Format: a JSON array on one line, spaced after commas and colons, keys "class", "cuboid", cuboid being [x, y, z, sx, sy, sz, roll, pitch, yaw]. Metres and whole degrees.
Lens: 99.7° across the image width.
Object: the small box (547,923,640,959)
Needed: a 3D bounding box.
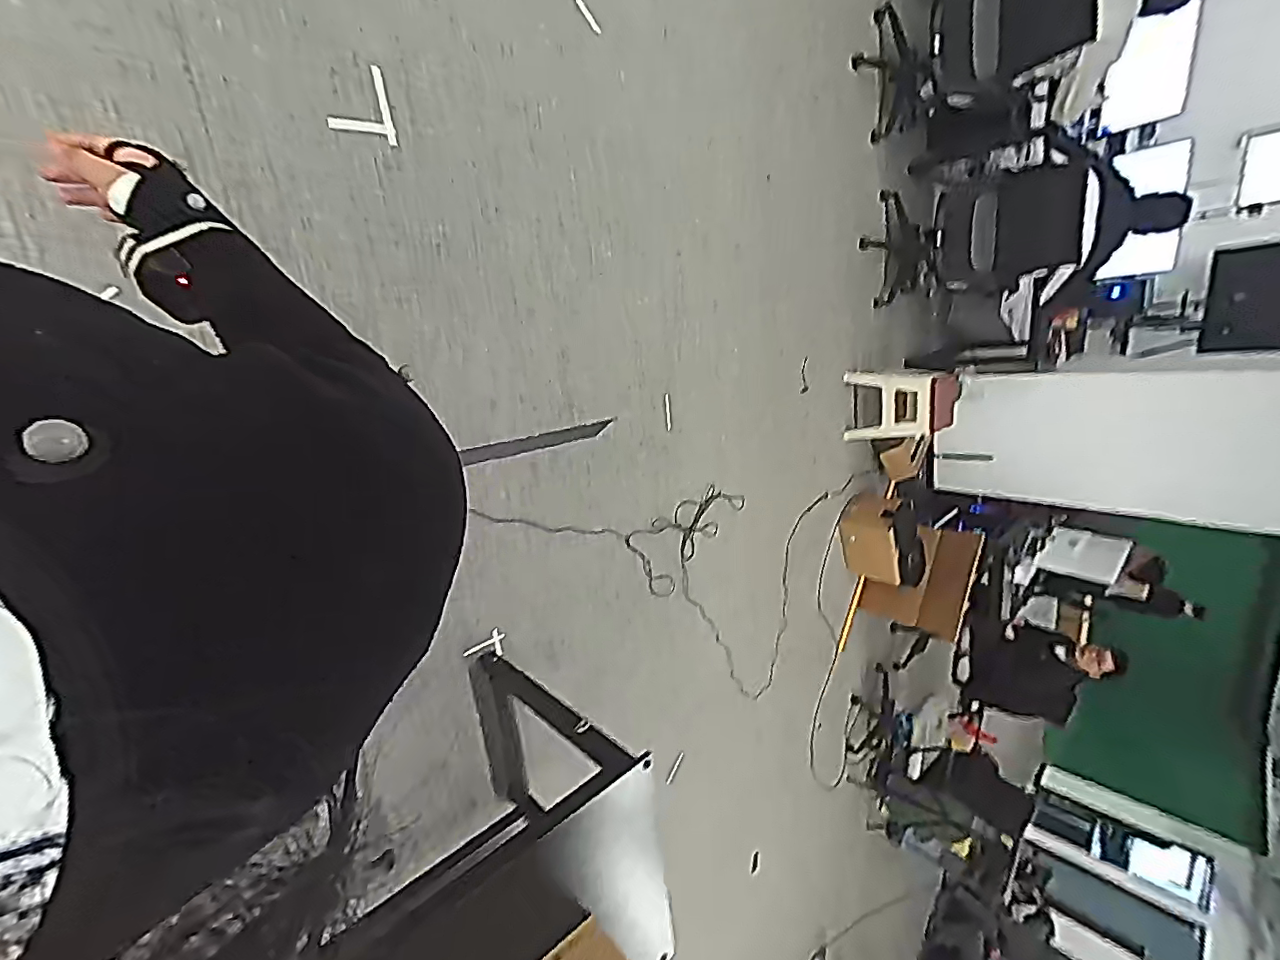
[{"class": "small box", "cuboid": [-0.091, 1.024, 1.053, 0.168, 0.176, 0.179, -15, 107, -40]}]
